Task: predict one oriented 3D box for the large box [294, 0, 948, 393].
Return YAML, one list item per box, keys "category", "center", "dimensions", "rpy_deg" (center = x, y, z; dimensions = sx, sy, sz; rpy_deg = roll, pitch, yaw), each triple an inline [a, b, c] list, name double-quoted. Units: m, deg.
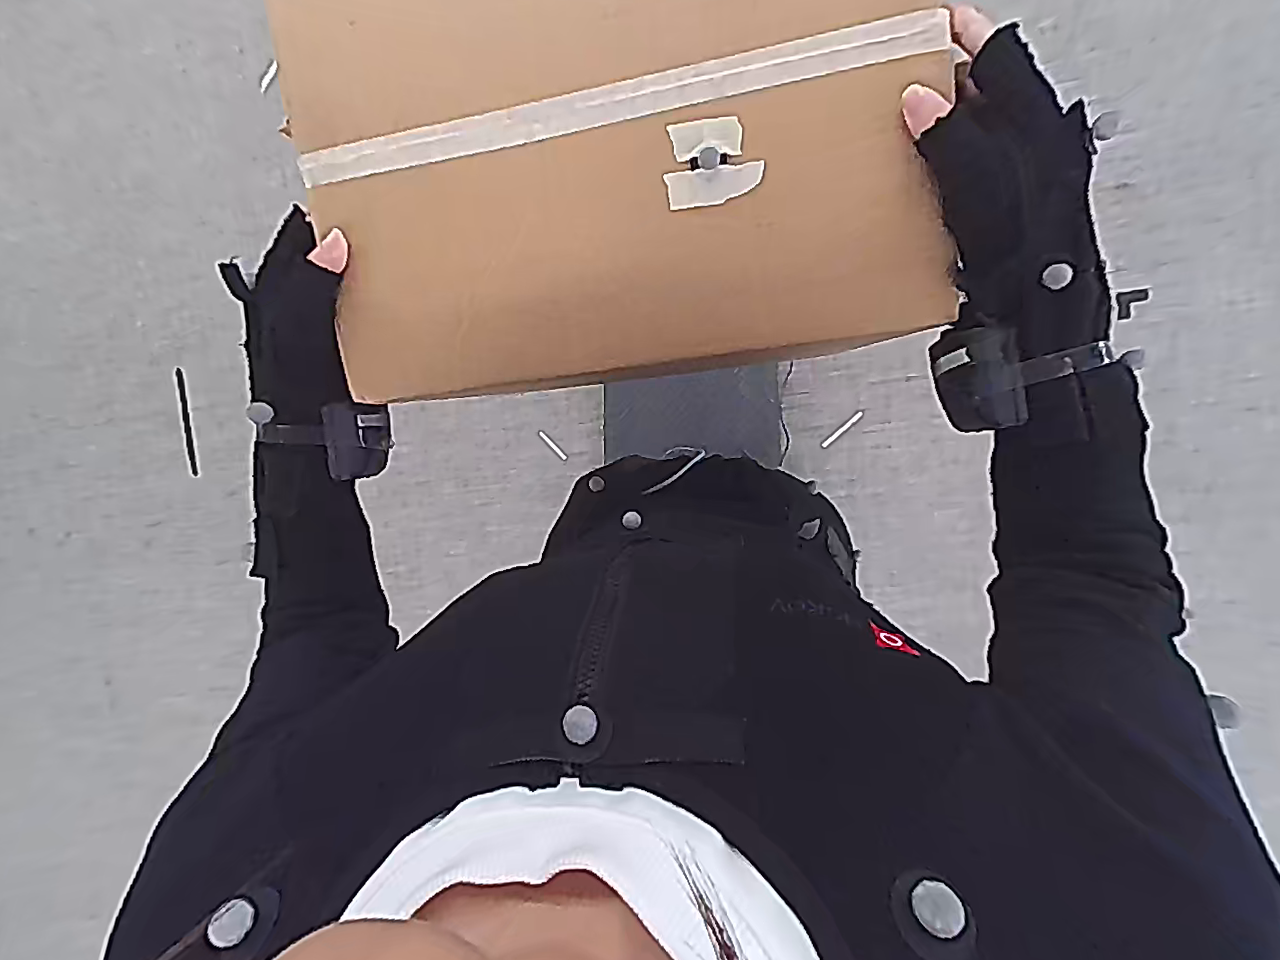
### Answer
- category: "large box"
  center: [-0.004, -0.263, 0.491]
  dimensions: [0.408, 0.320, 0.320]
  rpy_deg: [-6, 100, 9]
